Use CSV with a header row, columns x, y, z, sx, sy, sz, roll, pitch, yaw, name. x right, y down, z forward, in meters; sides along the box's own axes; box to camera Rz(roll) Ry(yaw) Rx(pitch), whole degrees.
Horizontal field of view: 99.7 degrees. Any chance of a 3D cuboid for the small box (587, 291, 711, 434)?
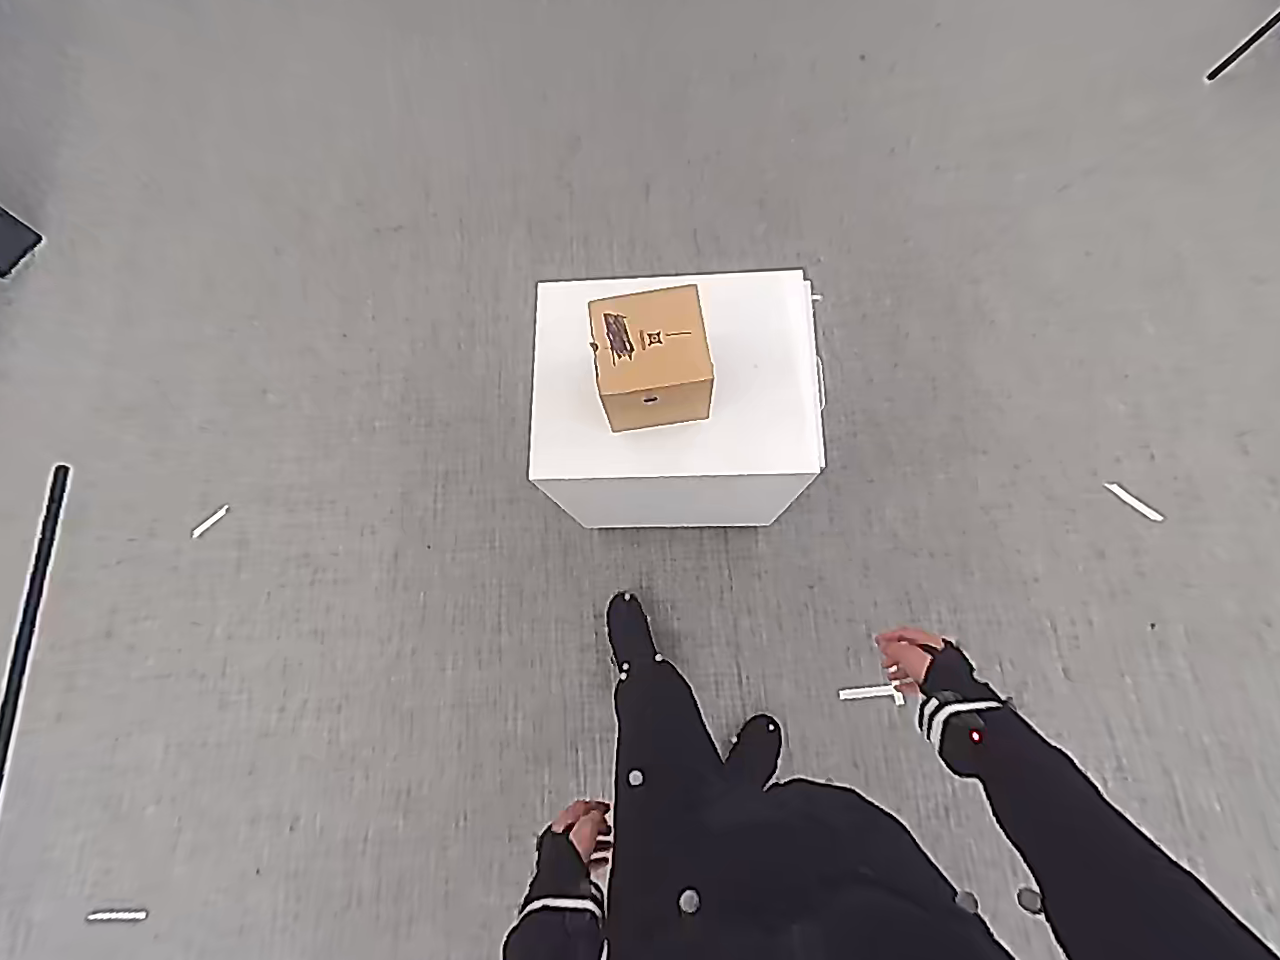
x,y,z,sx,sy,sz,roll,pitch,yaw,name
0.018,-0.187,0.907,0.179,0.176,0.168,-8,75,1,small box
